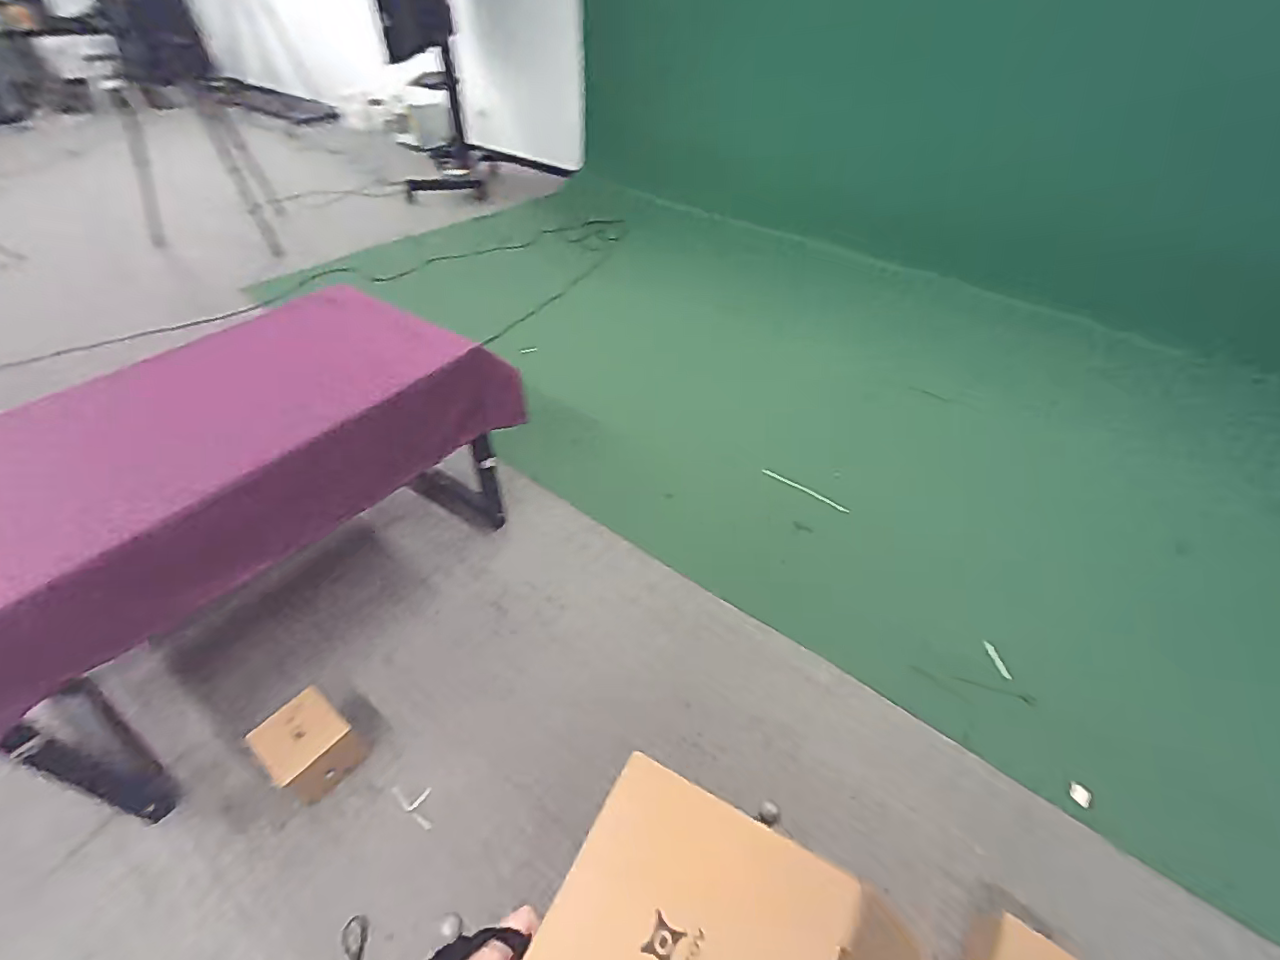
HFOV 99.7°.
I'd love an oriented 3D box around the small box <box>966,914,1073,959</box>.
[{"bbox_3d":[0.752,1.006,1.054,0.179,0.176,0.168,28,50,23],"label":"small box"}]
